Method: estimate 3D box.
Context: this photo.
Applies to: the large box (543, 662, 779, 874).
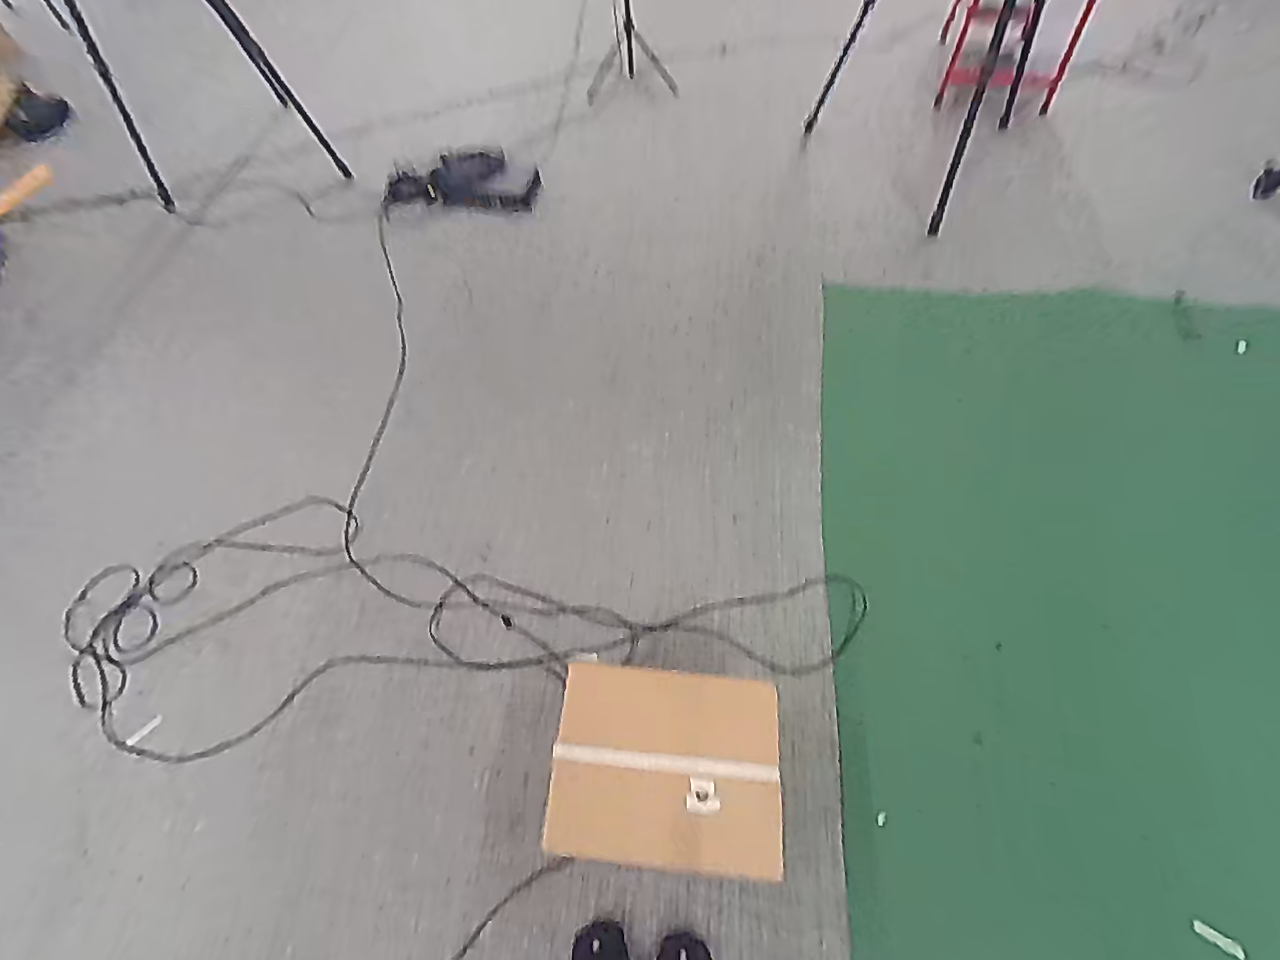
[{"bbox_3d":[0.045,0.575,1.099,0.408,0.320,0.320,5,62,3],"label":"large box"}]
